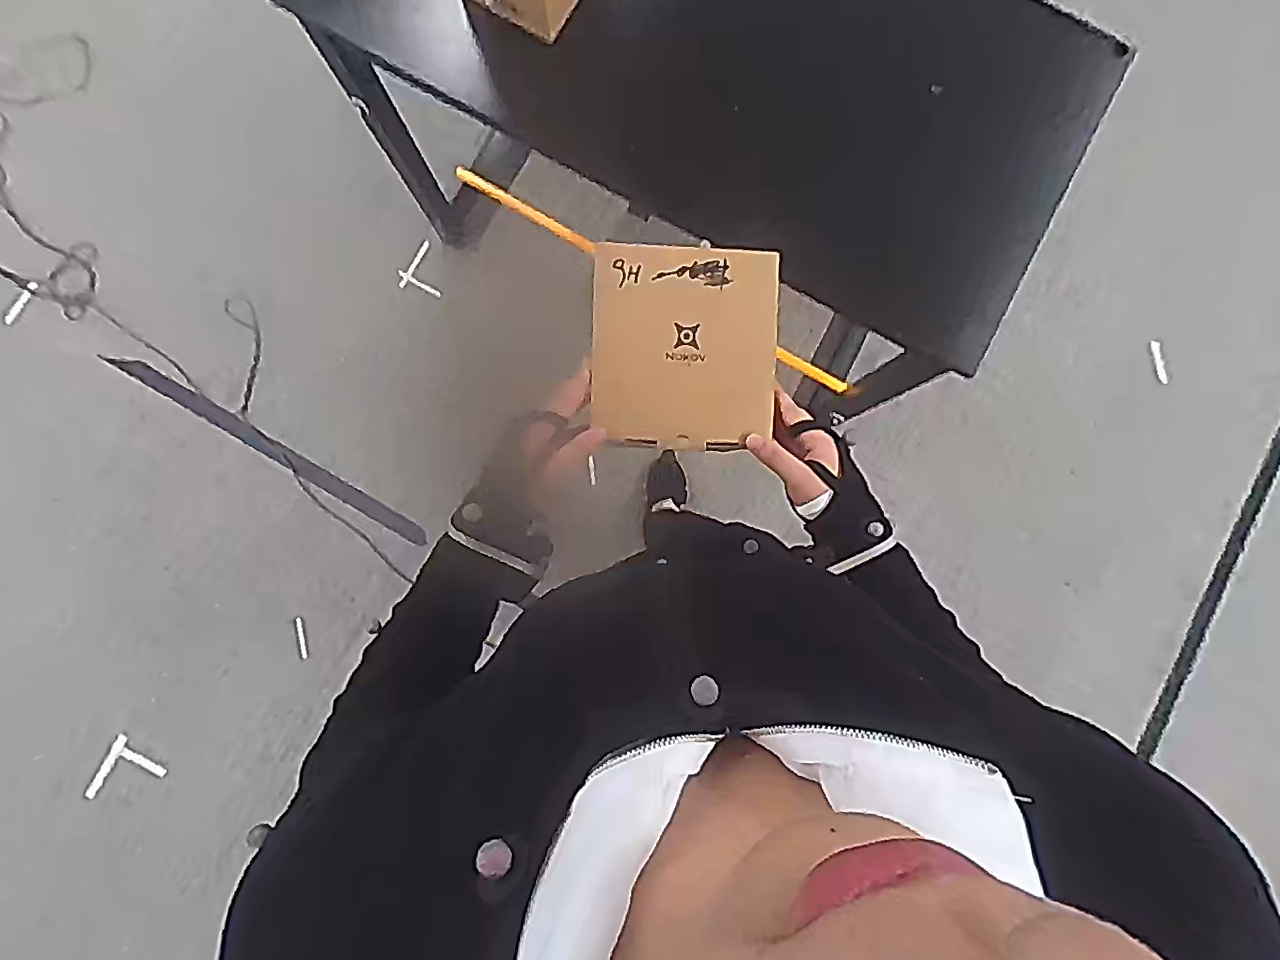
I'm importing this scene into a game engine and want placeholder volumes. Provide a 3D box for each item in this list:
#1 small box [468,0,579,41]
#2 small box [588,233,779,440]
[{"bbox_3d":[-0.161,-0.781,0.751,0.168,0.176,0.179,29,86,2],"label":"small box"},{"bbox_3d":[0.034,-0.131,0.559,0.168,0.176,0.179,2,93,-4],"label":"small box"}]
